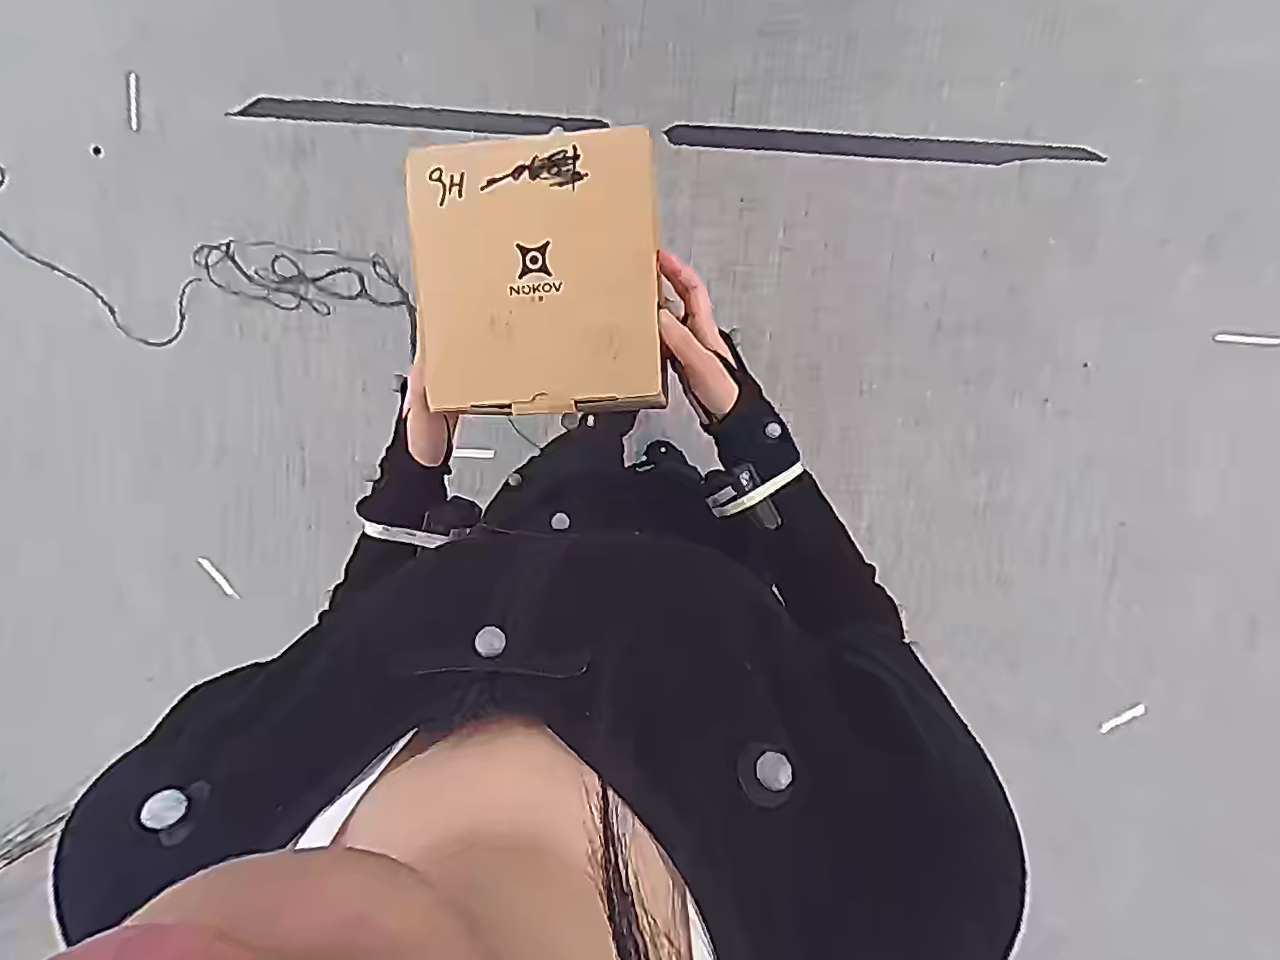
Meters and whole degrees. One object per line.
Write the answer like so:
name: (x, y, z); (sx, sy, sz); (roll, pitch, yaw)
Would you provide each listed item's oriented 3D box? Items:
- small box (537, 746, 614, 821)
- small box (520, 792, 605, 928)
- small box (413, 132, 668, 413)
small box: (-0.171, 0.805, 1.362); (0.179, 0.176, 0.168); (15, 97, 1)
small box: (-0.181, 0.834, 1.203); (0.179, 0.176, 0.168); (12, 97, 2)
small box: (-0.063, -0.147, 0.445); (0.168, 0.176, 0.179); (-2, 96, 4)
